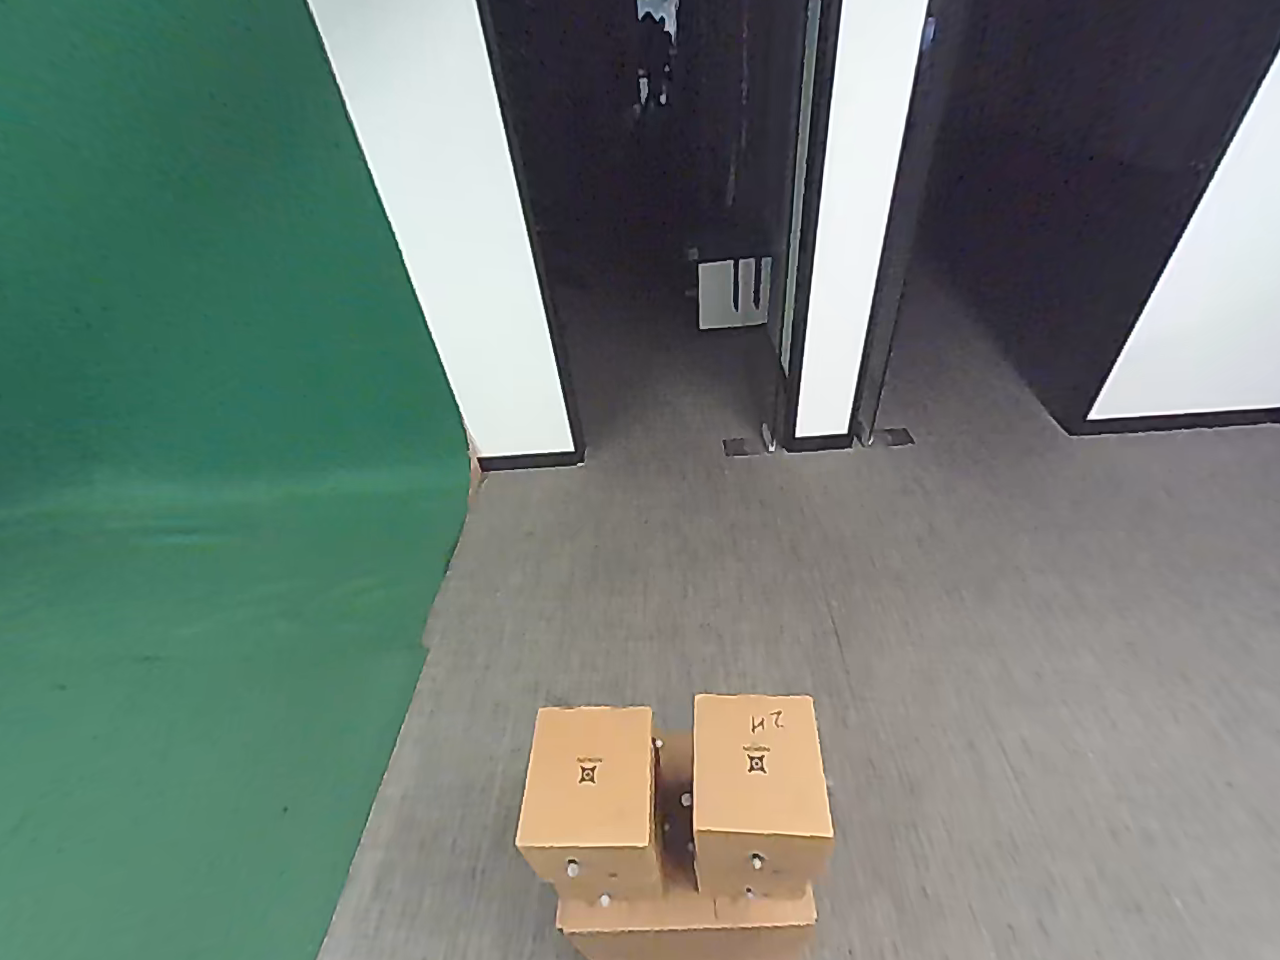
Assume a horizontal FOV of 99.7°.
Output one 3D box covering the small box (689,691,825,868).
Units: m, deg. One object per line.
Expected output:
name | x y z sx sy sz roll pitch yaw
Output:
small box | 0.160 0.423 0.764 0.168 0.176 0.179 -1 42 9

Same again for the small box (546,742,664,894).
small box | -0.048 0.559 0.896 0.168 0.176 0.179 -2 43 5
